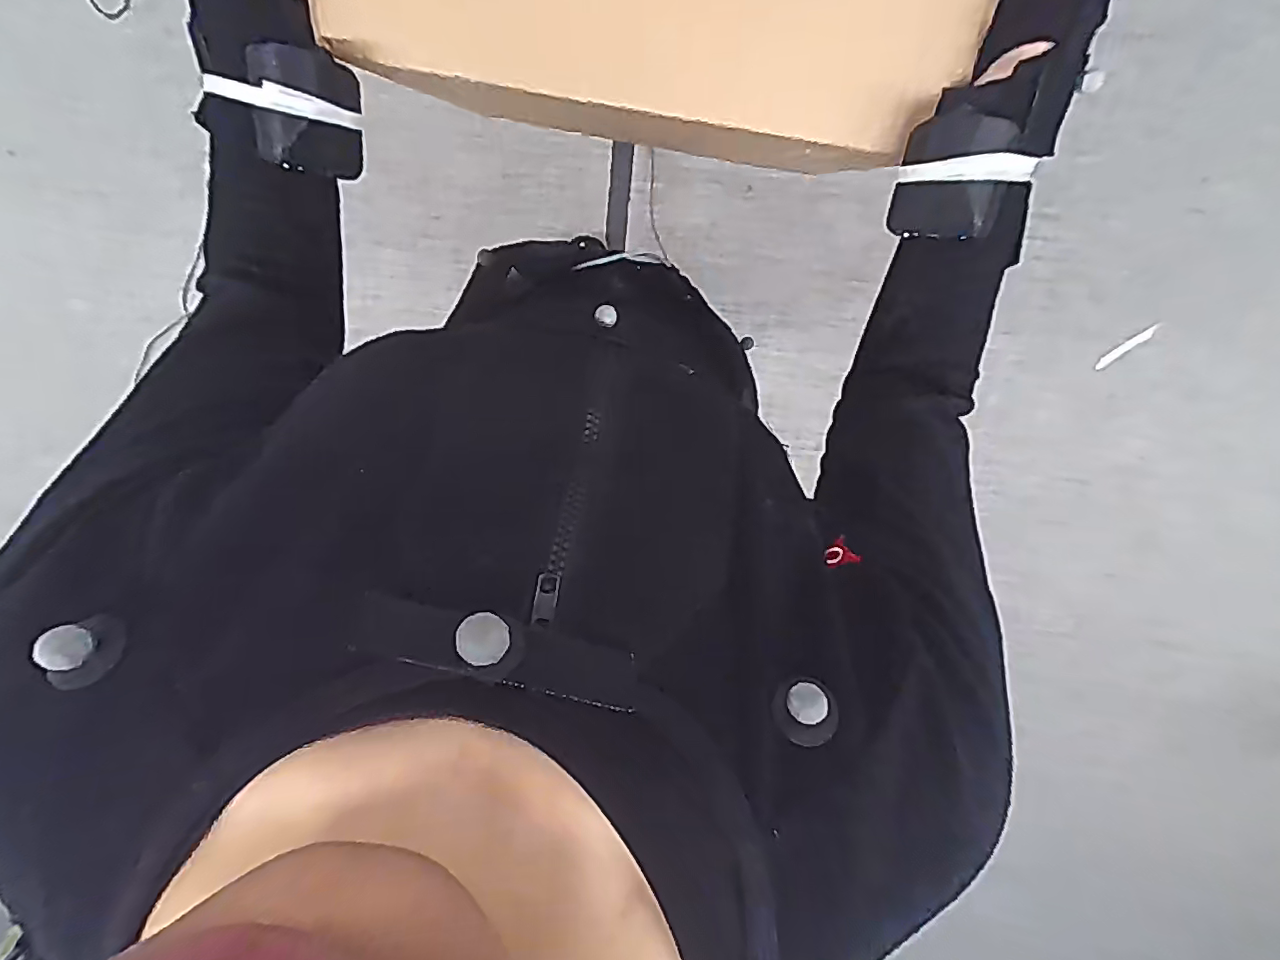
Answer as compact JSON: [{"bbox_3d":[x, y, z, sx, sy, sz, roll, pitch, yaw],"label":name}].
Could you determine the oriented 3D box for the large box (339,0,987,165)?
[{"bbox_3d":[0.027,-0.451,0.416,0.408,0.320,0.320,8,119,-3],"label":"large box"}]
